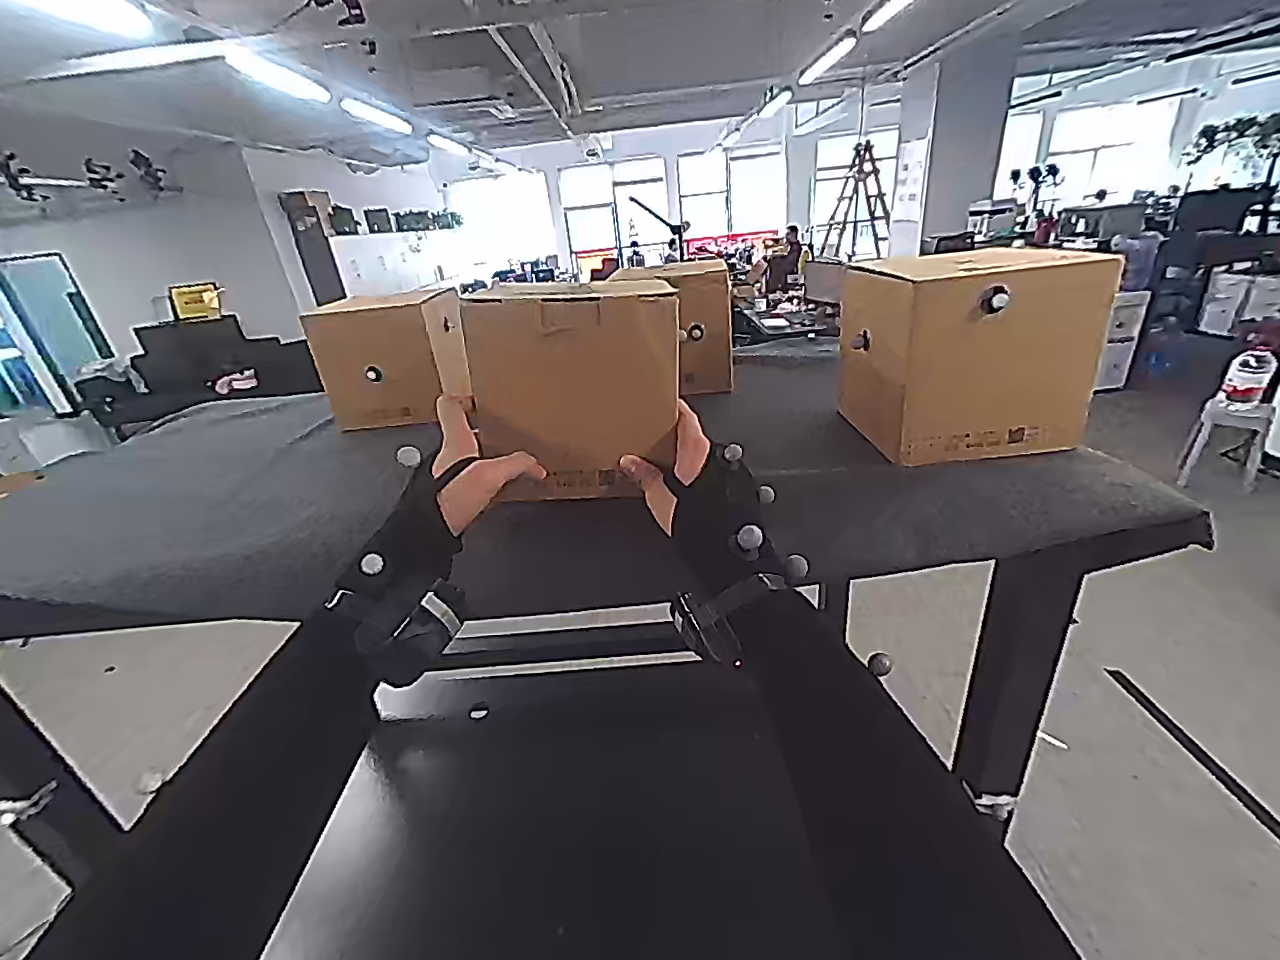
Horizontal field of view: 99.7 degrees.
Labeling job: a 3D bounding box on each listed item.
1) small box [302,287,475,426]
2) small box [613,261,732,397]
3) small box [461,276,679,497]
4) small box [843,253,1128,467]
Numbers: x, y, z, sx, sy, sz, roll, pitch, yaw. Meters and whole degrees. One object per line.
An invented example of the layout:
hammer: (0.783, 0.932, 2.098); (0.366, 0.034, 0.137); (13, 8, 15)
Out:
small box: (-0.360, -0.185, 0.819); (0.168, 0.176, 0.179); (-5, 26, 1)
small box: (0.051, -0.226, 0.813); (0.168, 0.176, 0.179); (-2, 26, 7)
small box: (-0.051, -0.091, 0.506); (0.168, 0.176, 0.179); (-1, 25, -1)
small box: (0.311, -0.124, 0.536); (0.168, 0.176, 0.179); (-6, 25, 3)
